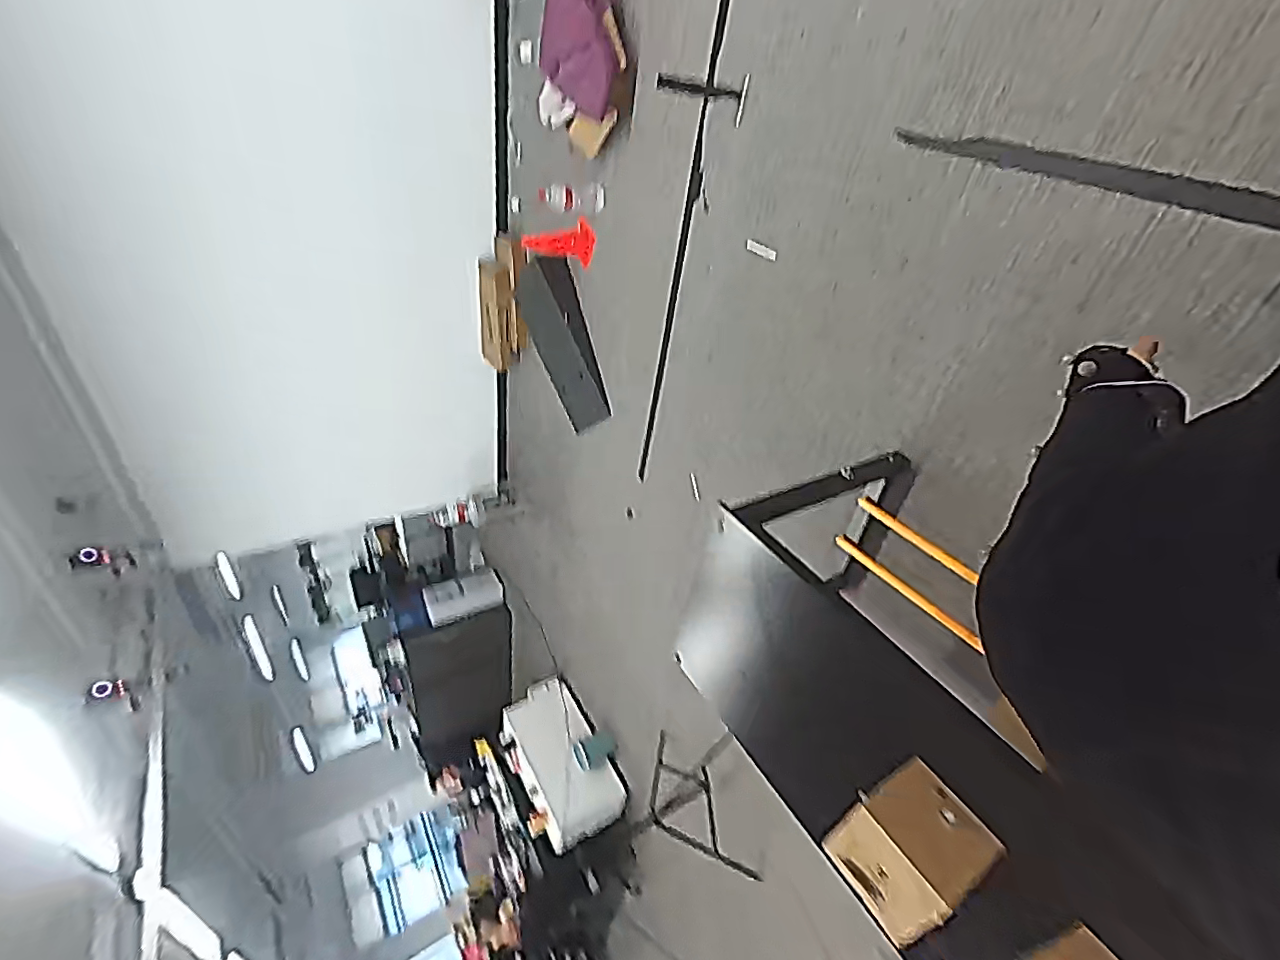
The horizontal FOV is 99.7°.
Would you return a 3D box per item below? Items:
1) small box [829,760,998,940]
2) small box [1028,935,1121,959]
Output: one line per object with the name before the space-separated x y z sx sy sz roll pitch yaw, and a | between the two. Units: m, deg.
small box | 0.466 0.626 0.927 0.168 0.176 0.179 46 138 39
small box | 0.620 0.775 0.739 0.179 0.176 0.168 45 139 40
